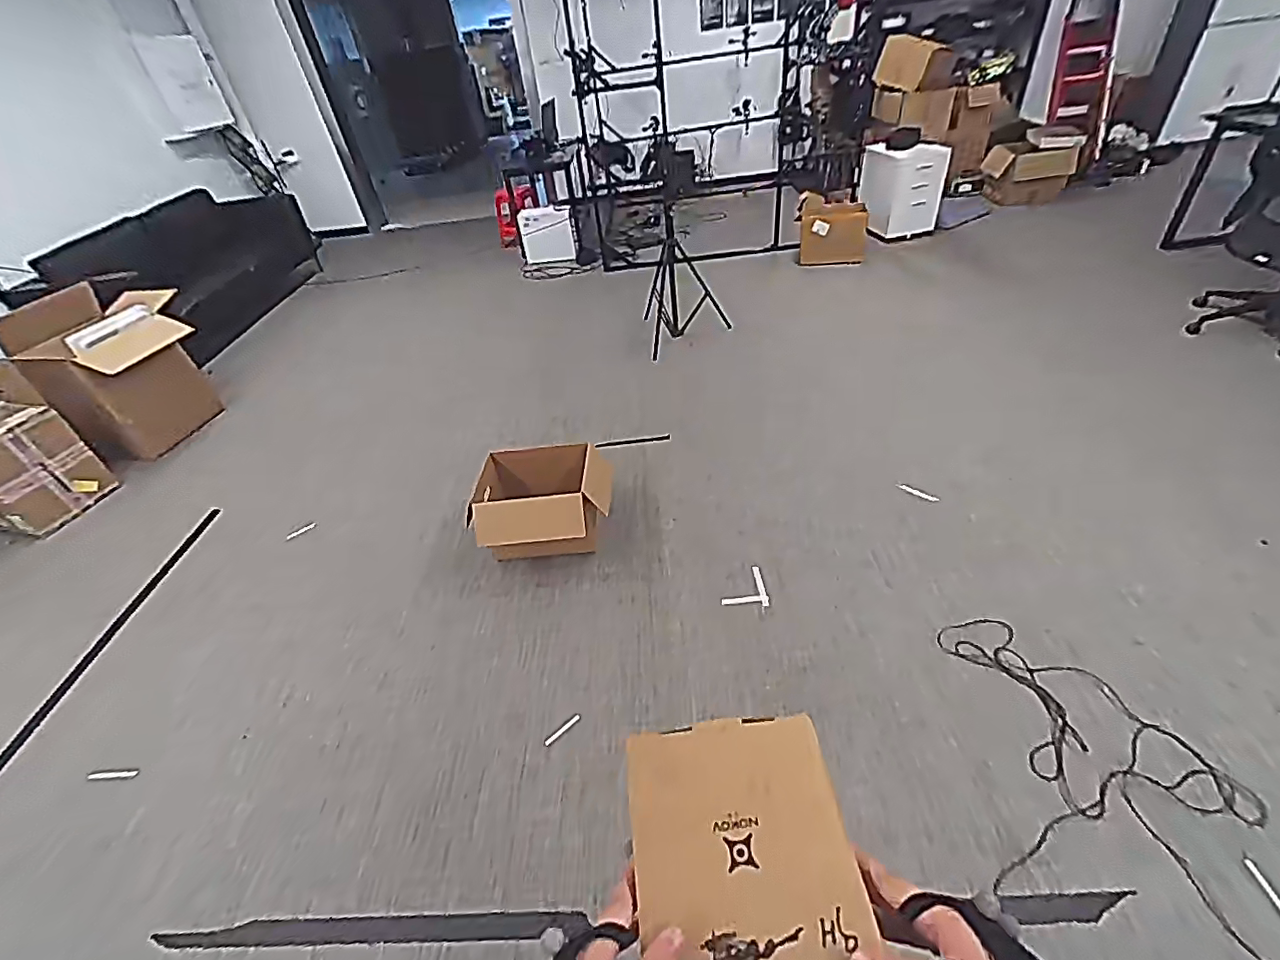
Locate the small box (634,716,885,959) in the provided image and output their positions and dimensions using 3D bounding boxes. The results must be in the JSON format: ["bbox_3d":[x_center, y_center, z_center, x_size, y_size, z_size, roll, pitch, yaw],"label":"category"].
[{"bbox_3d":[0.087,0.338,0.480,0.168,0.176,0.179,-7,45,0],"label":"small box"}]
